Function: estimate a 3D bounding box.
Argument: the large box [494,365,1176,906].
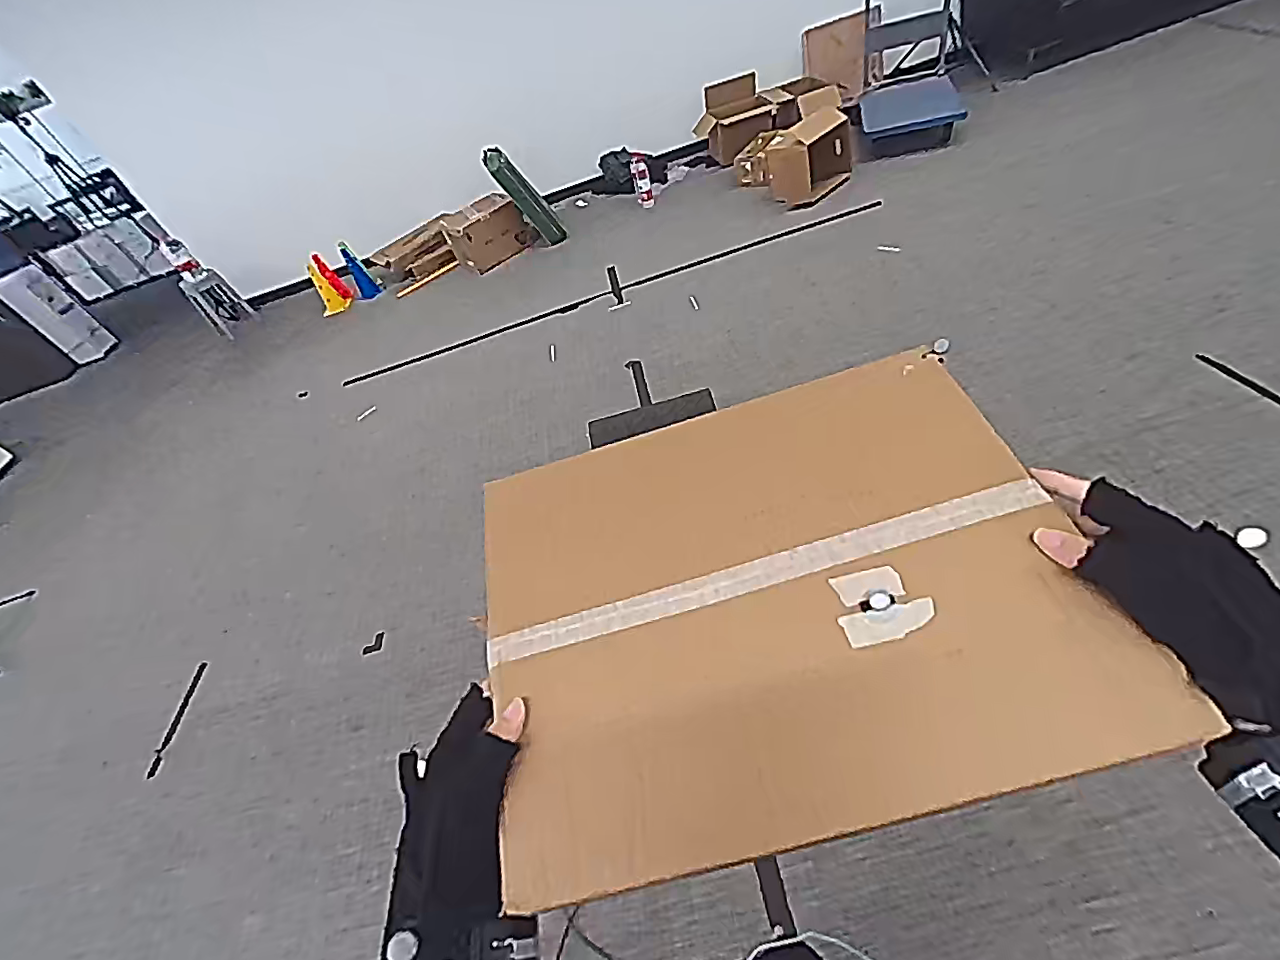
[{"bbox_3d":[0.117,0.158,0.521,0.408,0.320,0.320,-17,55,3],"label":"large box"}]
